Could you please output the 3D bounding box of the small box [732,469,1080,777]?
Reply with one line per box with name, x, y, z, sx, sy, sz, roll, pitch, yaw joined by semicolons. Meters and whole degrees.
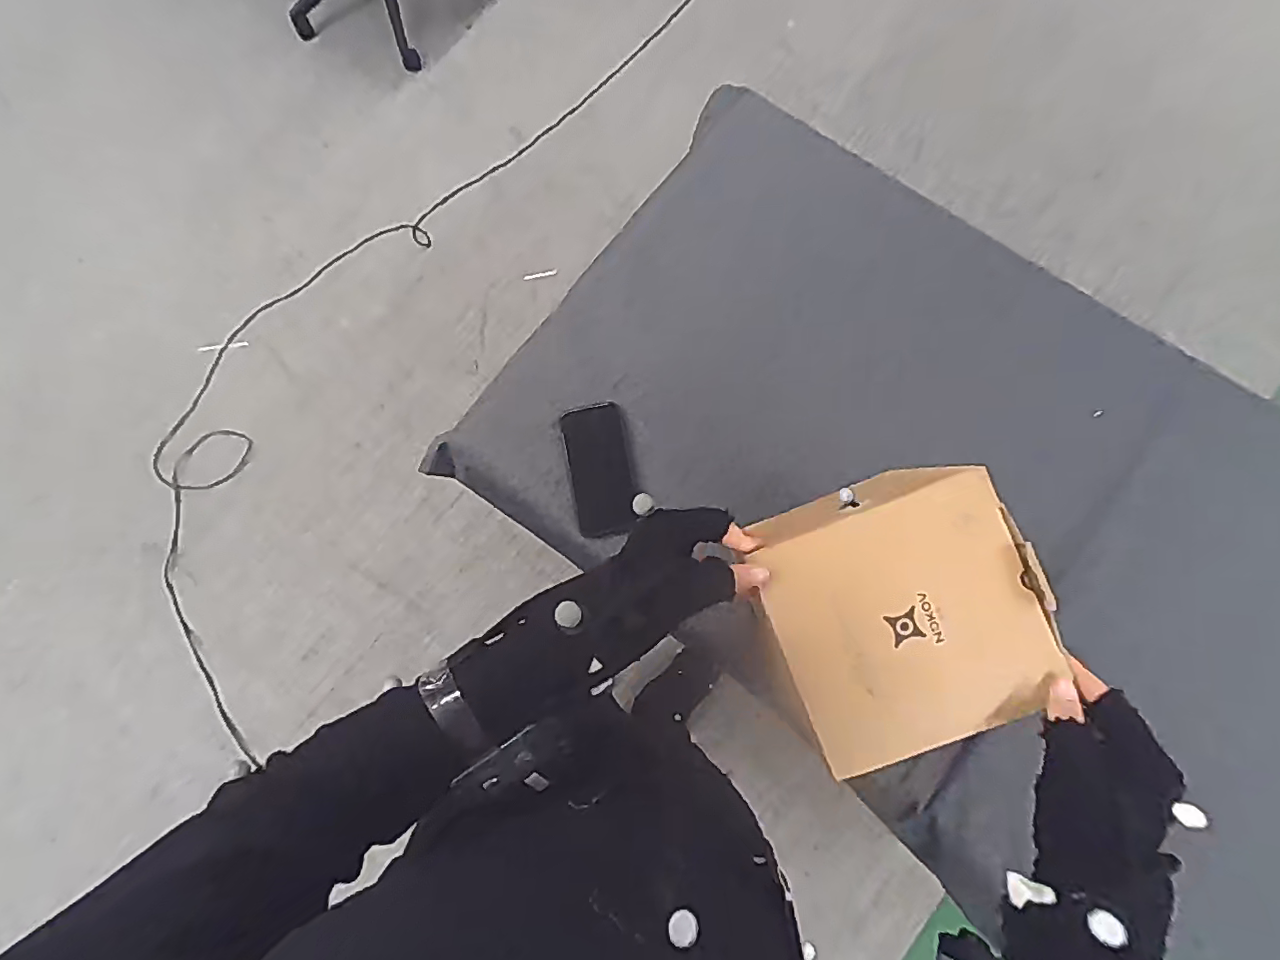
small box;0.189;0.097;0.444;0.179;0.176;0.168;-23;87;5
